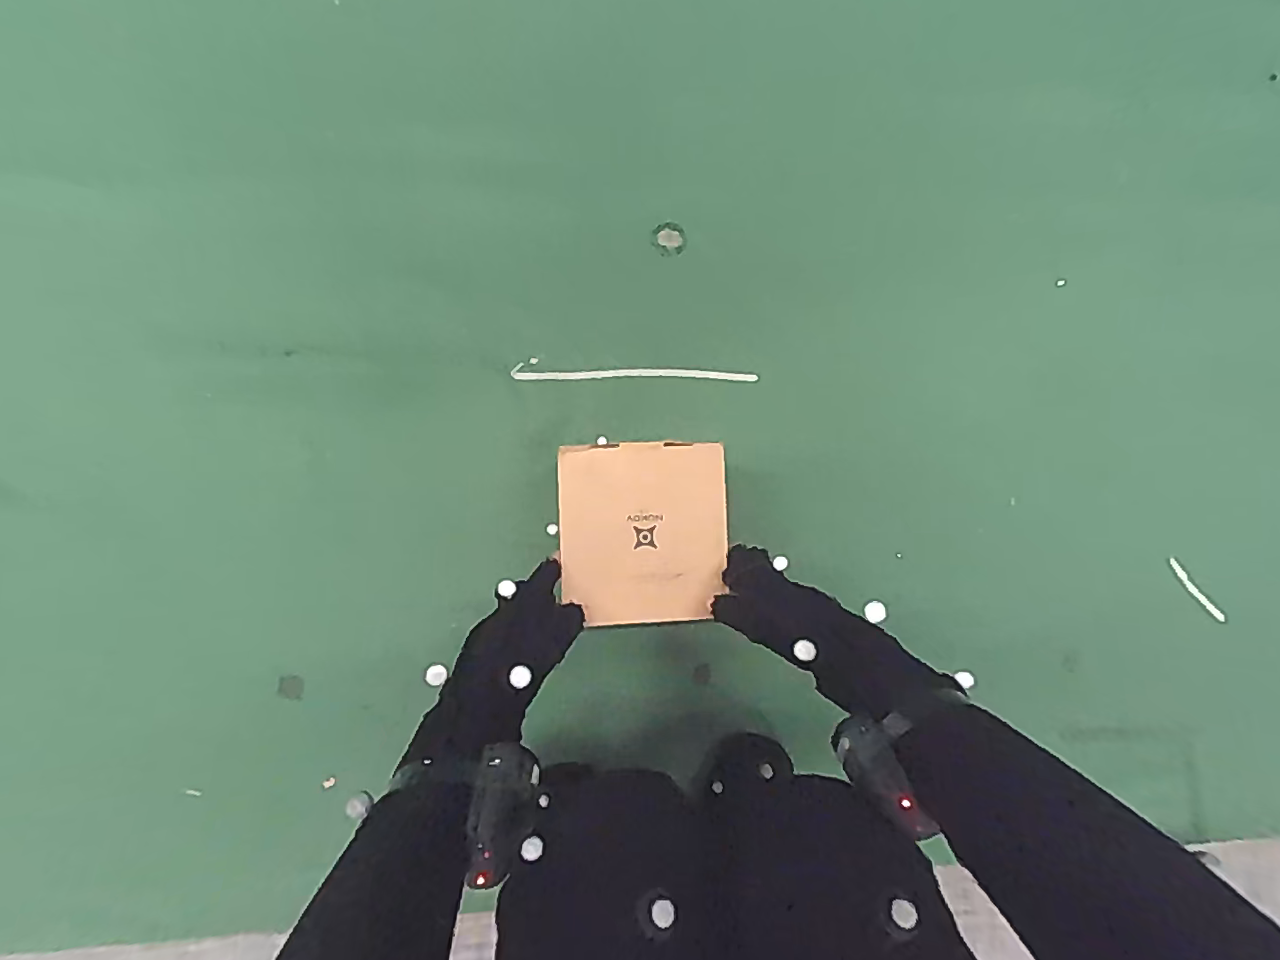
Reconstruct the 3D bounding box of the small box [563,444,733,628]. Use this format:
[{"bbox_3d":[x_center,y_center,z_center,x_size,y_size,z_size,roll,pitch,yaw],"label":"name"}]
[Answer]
[{"bbox_3d":[0.001,0.056,0.613,0.168,0.176,0.179,-3,89,-4],"label":"small box"}]
